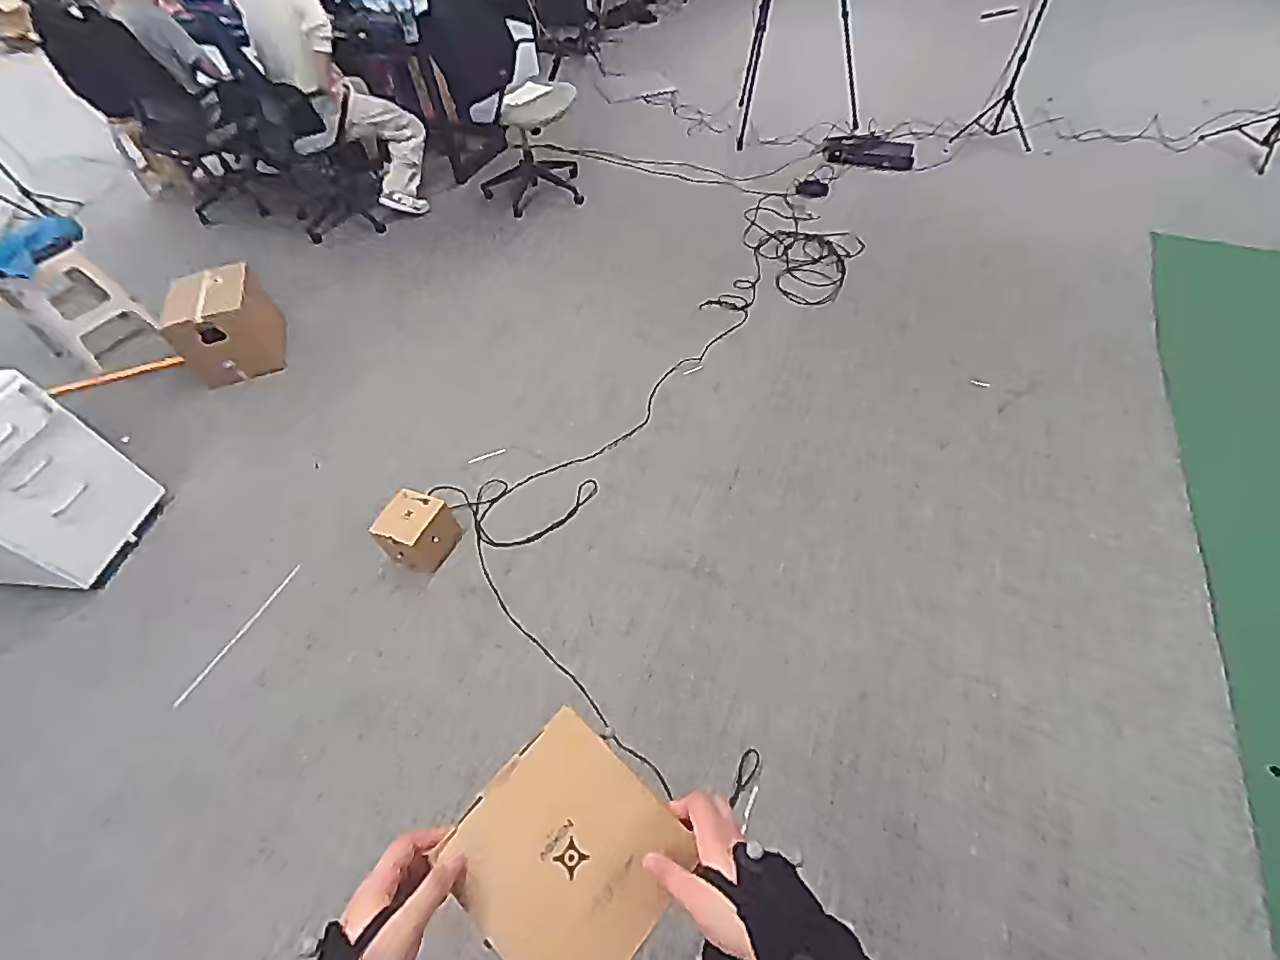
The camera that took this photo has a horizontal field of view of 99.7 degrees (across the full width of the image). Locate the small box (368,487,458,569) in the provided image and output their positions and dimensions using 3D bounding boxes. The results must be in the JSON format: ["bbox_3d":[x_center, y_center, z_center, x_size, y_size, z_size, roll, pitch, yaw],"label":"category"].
[{"bbox_3d":[-0.706,0.156,1.704,0.168,0.176,0.179,15,56,16],"label":"small box"}]

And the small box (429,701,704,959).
[{"bbox_3d":[-0.064,0.348,0.528,0.179,0.176,0.168,39,69,16],"label":"small box"}]
